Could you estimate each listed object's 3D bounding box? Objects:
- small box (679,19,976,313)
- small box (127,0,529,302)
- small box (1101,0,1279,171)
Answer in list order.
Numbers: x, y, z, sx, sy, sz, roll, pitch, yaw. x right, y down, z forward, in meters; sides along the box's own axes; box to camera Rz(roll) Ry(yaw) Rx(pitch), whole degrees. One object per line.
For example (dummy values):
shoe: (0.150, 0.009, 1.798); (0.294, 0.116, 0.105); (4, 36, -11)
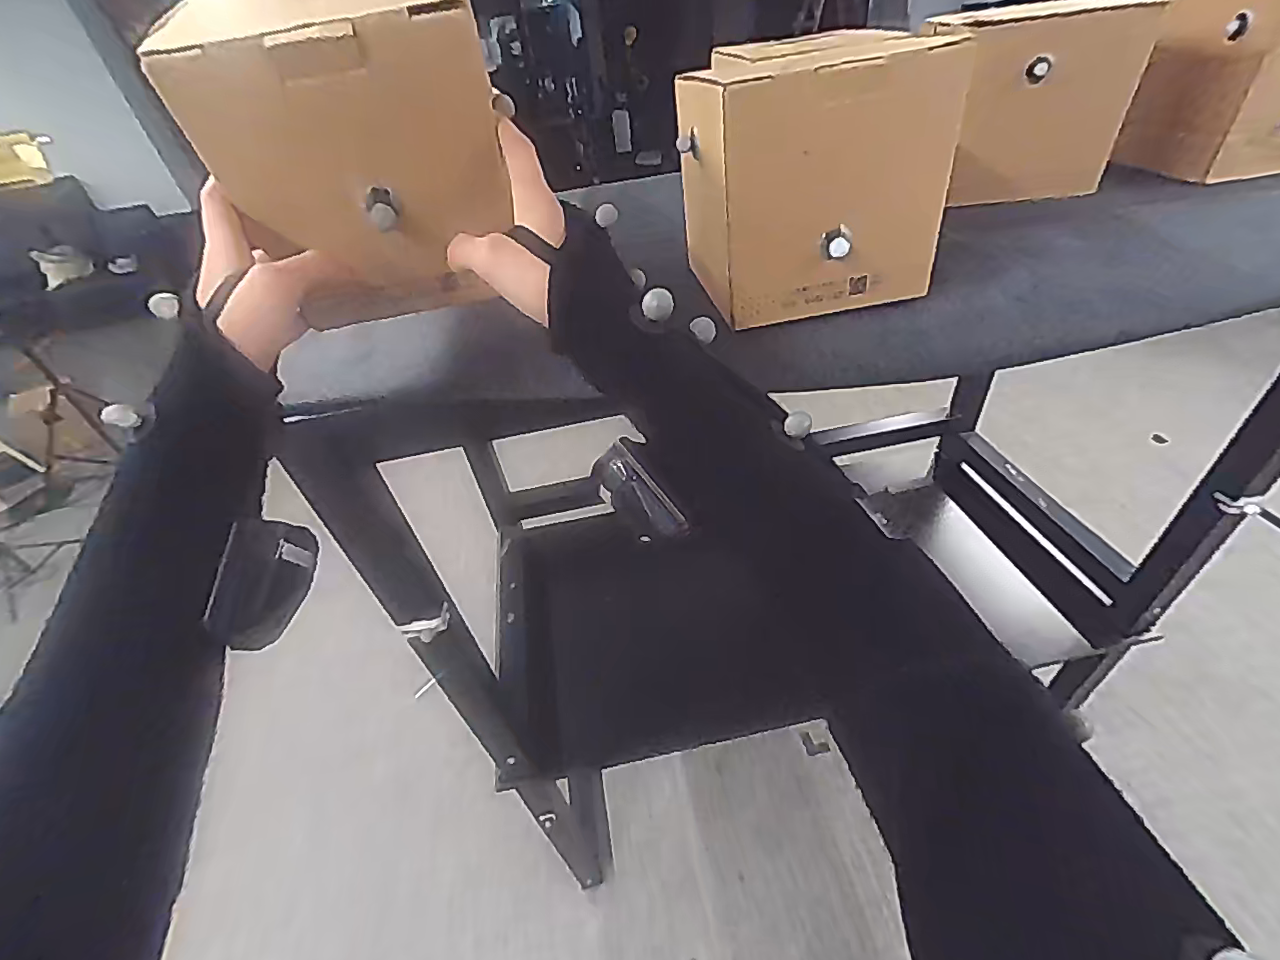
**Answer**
small box: (0.131, -0.257, 0.450); (0.168, 0.176, 0.179); (-11, 39, 0)
small box: (-0.182, -0.244, 0.378); (0.168, 0.176, 0.179); (-13, 54, -6)
small box: (0.666, -0.450, 0.587); (0.168, 0.176, 0.179); (-8, 41, 1)
